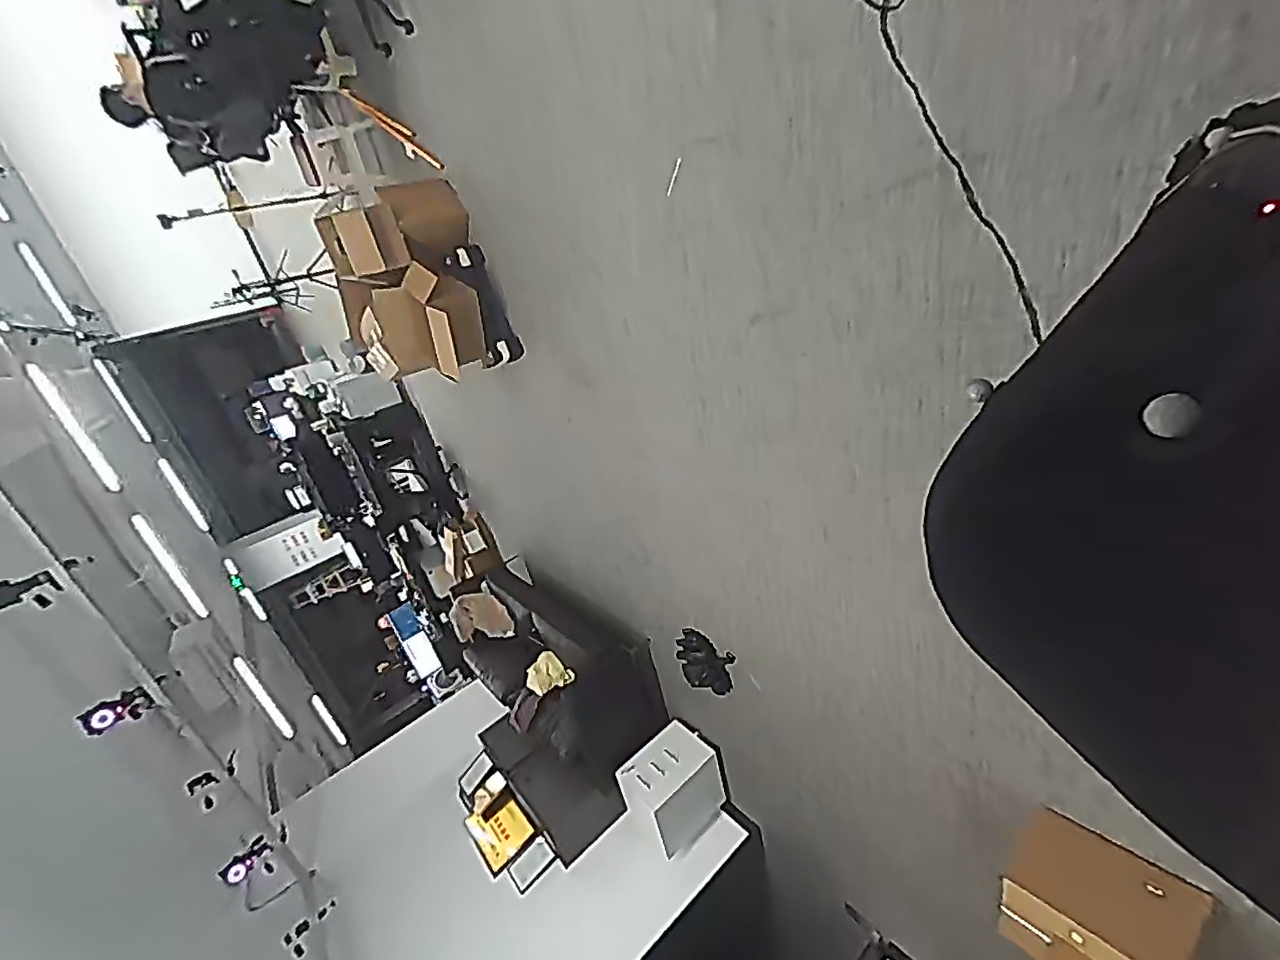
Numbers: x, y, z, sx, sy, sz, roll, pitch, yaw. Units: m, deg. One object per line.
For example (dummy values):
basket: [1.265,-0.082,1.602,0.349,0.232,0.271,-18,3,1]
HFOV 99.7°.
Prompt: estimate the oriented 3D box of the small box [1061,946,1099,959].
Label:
small box: [1.233,1.433,1.475,0.179,0.176,0.168,23,130,46]
